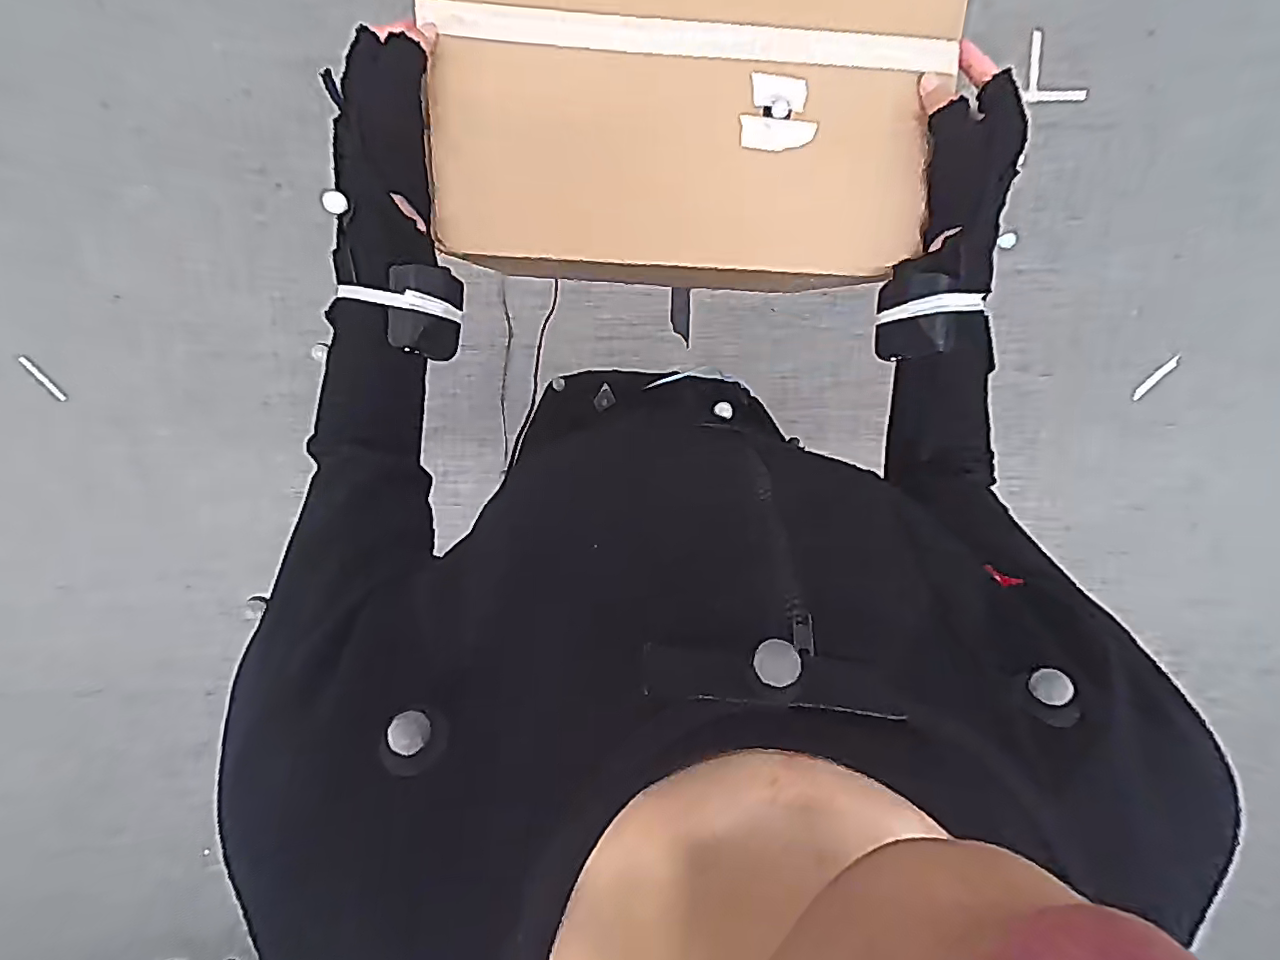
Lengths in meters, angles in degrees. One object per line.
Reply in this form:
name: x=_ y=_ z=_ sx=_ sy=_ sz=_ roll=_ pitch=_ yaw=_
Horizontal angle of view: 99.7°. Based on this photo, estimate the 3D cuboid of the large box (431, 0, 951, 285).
large box: x=0.031 y=-0.379 z=0.560 sx=0.408 sy=0.320 sz=0.320 roll=2 pitch=108 yaw=-4
